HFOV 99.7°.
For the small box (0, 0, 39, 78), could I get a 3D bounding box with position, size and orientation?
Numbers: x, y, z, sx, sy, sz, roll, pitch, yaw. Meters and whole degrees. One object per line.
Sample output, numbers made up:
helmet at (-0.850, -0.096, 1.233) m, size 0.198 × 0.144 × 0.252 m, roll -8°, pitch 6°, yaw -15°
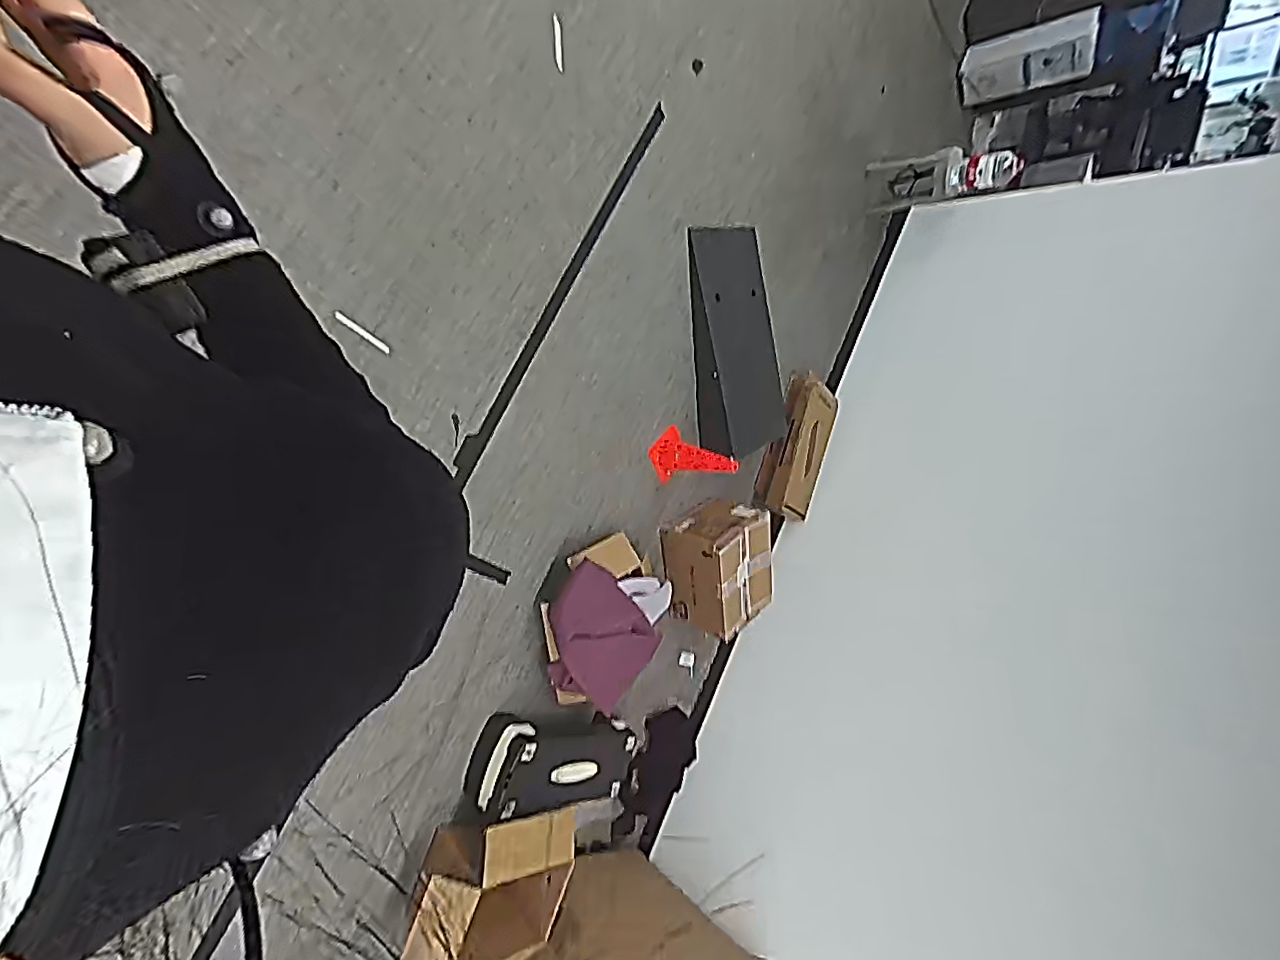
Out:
small box at (-0.425, -0.300, 0.240) m, size 0.179 × 0.176 × 0.168 m, roll -19°, pitch 125°, yaw -45°
